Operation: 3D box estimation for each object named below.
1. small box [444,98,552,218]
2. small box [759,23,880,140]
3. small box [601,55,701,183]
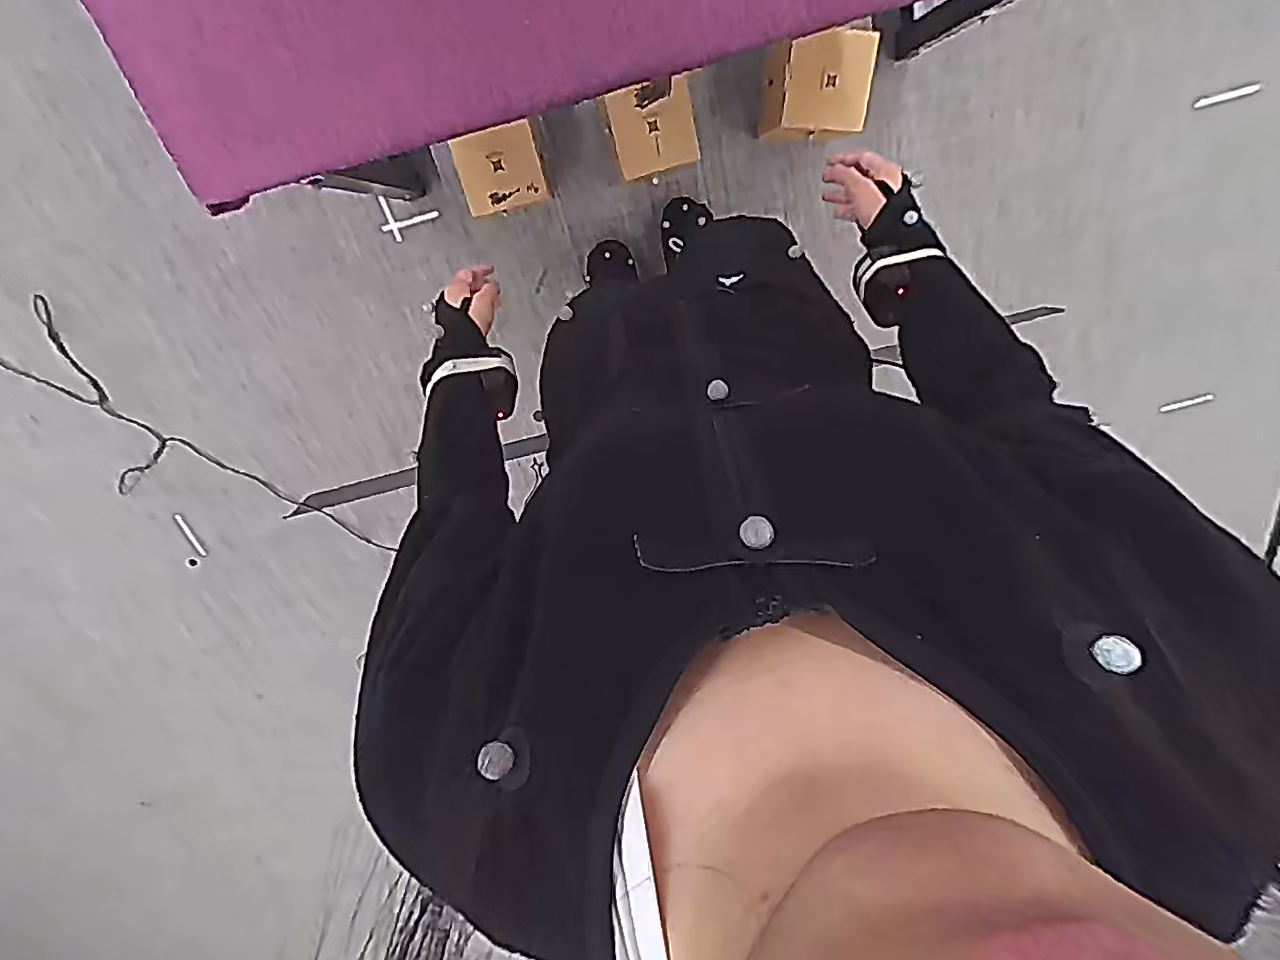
[{"bbox_3d":[-0.289,-0.670,1.143,0.168,0.176,0.179,-13,114,1],"label":"small box"},{"bbox_3d":[0.367,-0.825,1.135,0.179,0.176,0.168,1,115,-5],"label":"small box"},{"bbox_3d":[0.019,-0.745,1.136,0.168,0.176,0.179,-16,116,2],"label":"small box"}]
